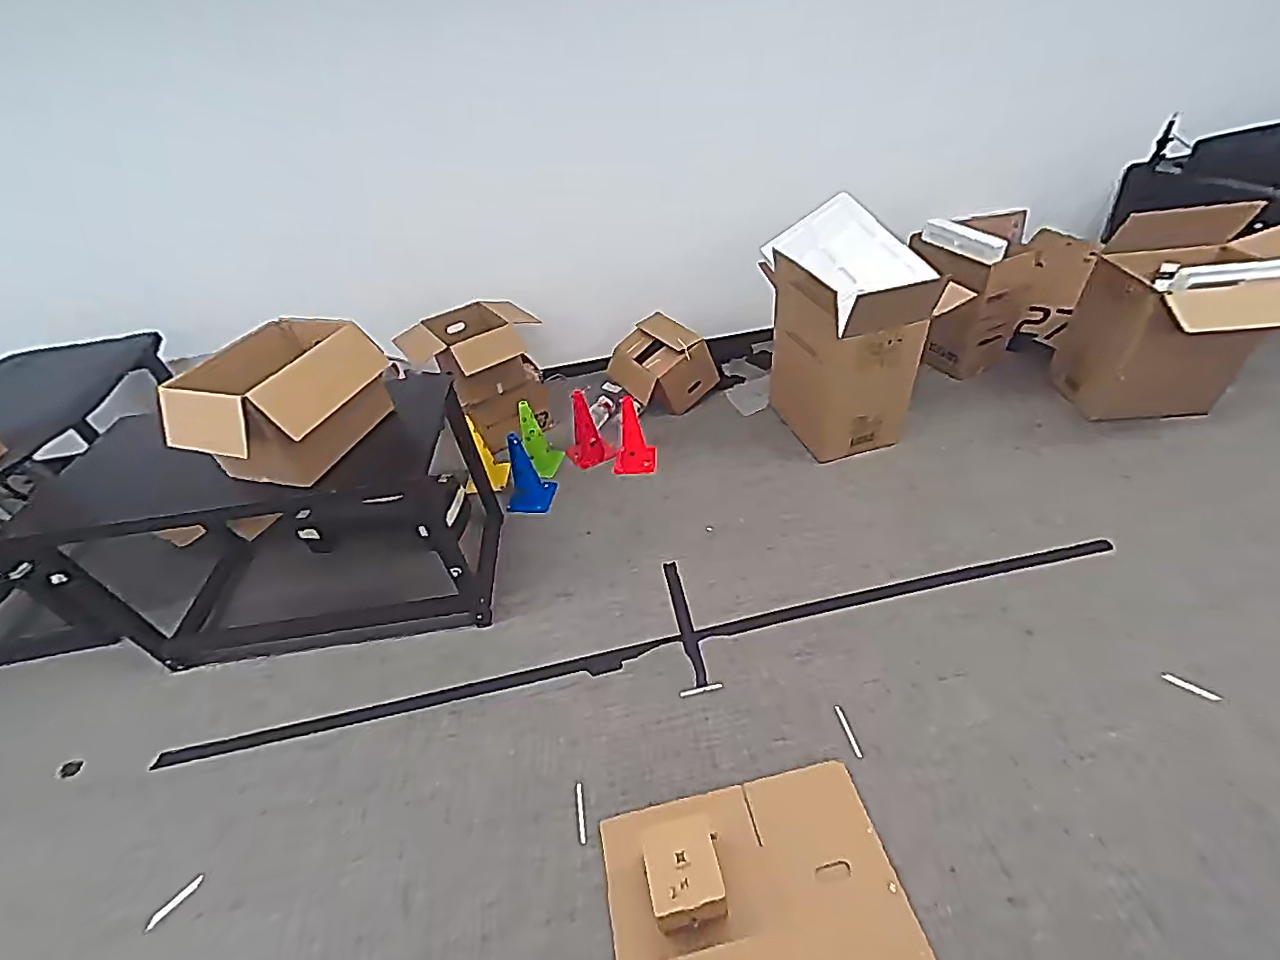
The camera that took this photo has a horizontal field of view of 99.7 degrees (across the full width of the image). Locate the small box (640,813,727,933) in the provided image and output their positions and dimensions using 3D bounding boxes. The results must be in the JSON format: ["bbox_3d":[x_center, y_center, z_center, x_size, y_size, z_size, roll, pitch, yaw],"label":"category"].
[{"bbox_3d":[0.102,0.934,1.285,0.168,0.176,0.179,-13,41,-5],"label":"small box"}]
